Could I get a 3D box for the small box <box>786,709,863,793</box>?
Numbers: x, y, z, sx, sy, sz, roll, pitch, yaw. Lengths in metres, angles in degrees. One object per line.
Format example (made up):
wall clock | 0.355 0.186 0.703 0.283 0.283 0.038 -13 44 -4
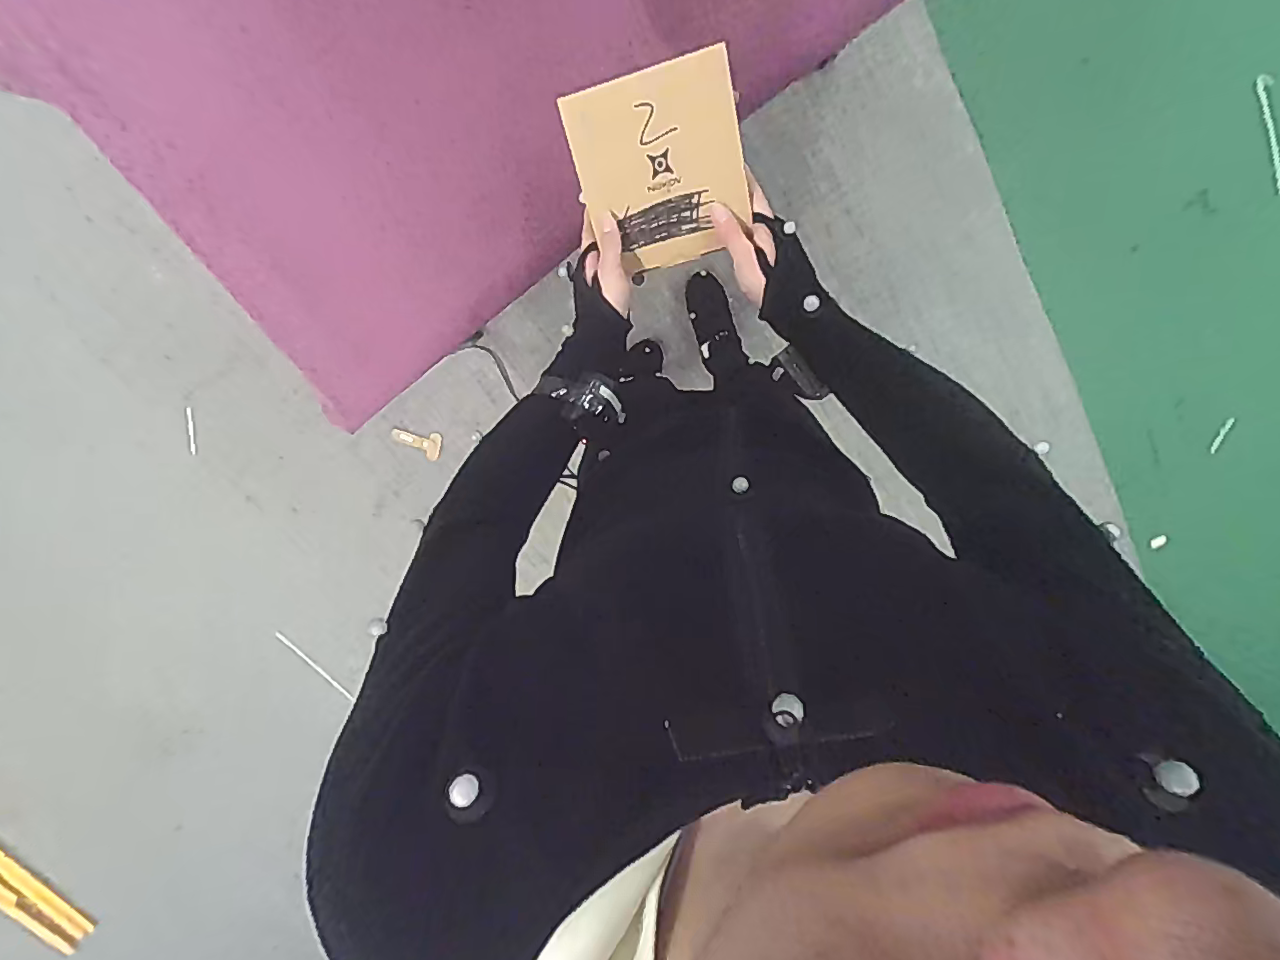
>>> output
small box | 0.641 0.943 1.896 0.179 0.176 0.168 -31 107 10
